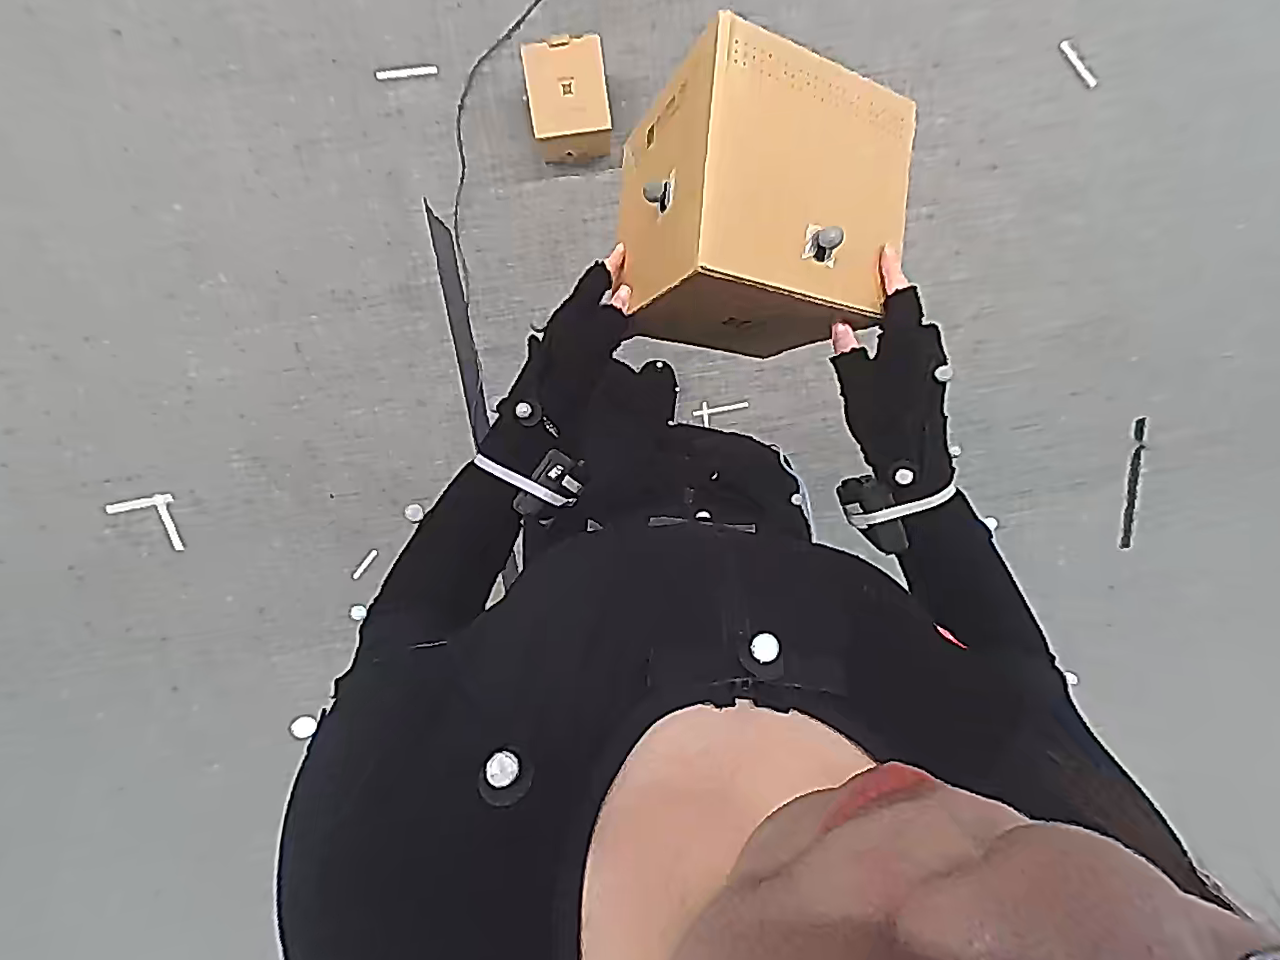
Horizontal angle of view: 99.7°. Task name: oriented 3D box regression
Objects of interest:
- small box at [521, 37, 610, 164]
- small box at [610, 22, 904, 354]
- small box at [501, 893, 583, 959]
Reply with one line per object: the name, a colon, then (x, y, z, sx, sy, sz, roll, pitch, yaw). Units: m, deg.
small box: (-0.159, -0.830, 1.197, 0.168, 0.176, 0.179, -8, 105, -1)
small box: (0.088, -0.216, 0.445, 0.179, 0.168, 0.176, 4, 90, -24)
small box: (-0.233, 1.161, 1.322, 0.168, 0.176, 0.179, -6, 104, -2)
